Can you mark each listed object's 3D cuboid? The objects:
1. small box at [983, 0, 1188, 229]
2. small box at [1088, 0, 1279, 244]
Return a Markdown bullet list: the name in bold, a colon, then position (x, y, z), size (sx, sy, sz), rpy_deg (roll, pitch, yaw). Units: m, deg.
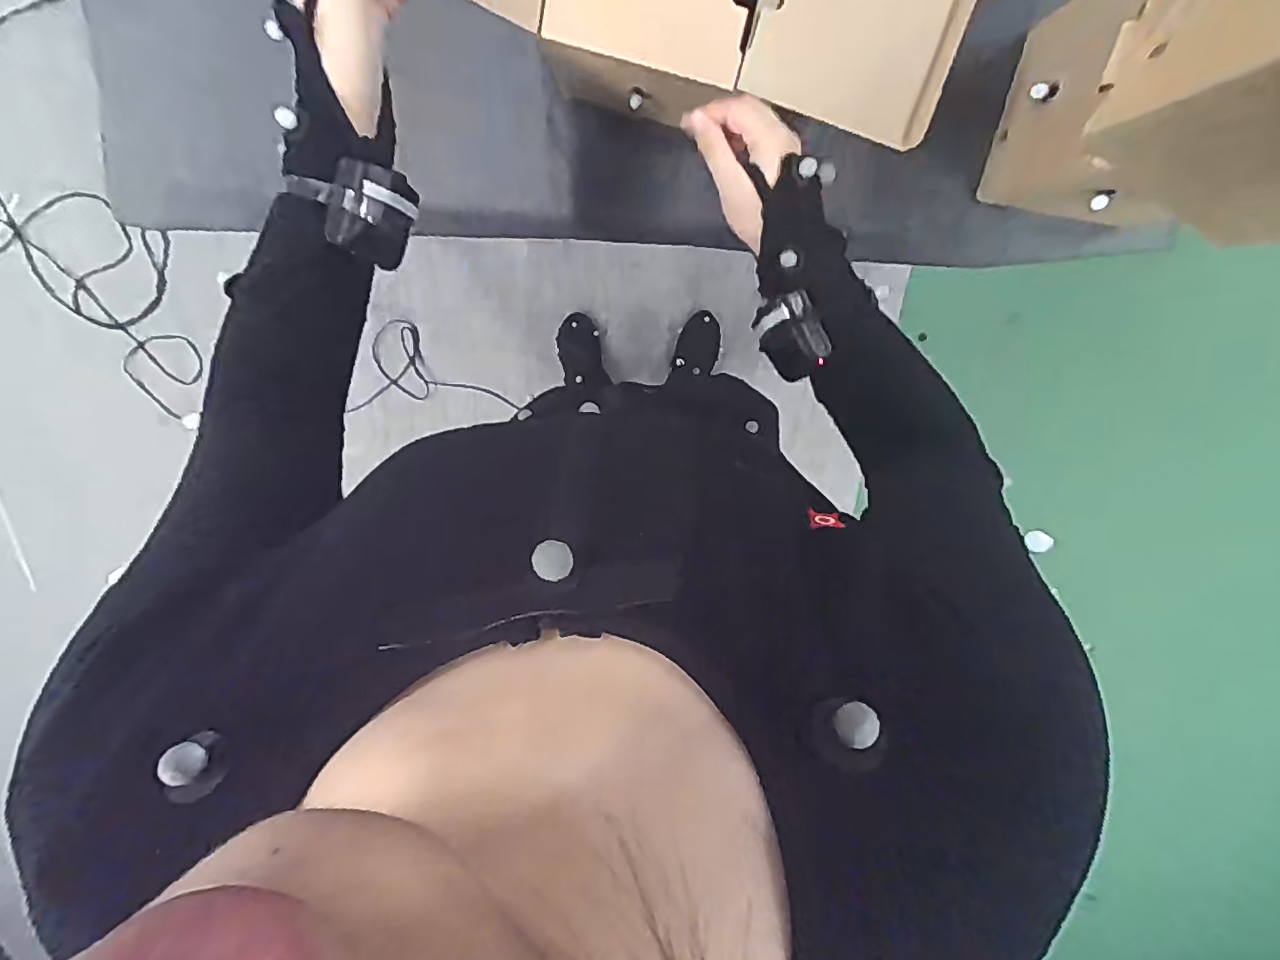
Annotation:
- **small box**: position (0.476, -0.348, 0.517), size (0.179, 0.176, 0.168), rpy_deg (9, 108, -1)
- **small box**: position (0.476, -0.281, 0.367), size (0.179, 0.176, 0.168), rpy_deg (29, 106, -9)
